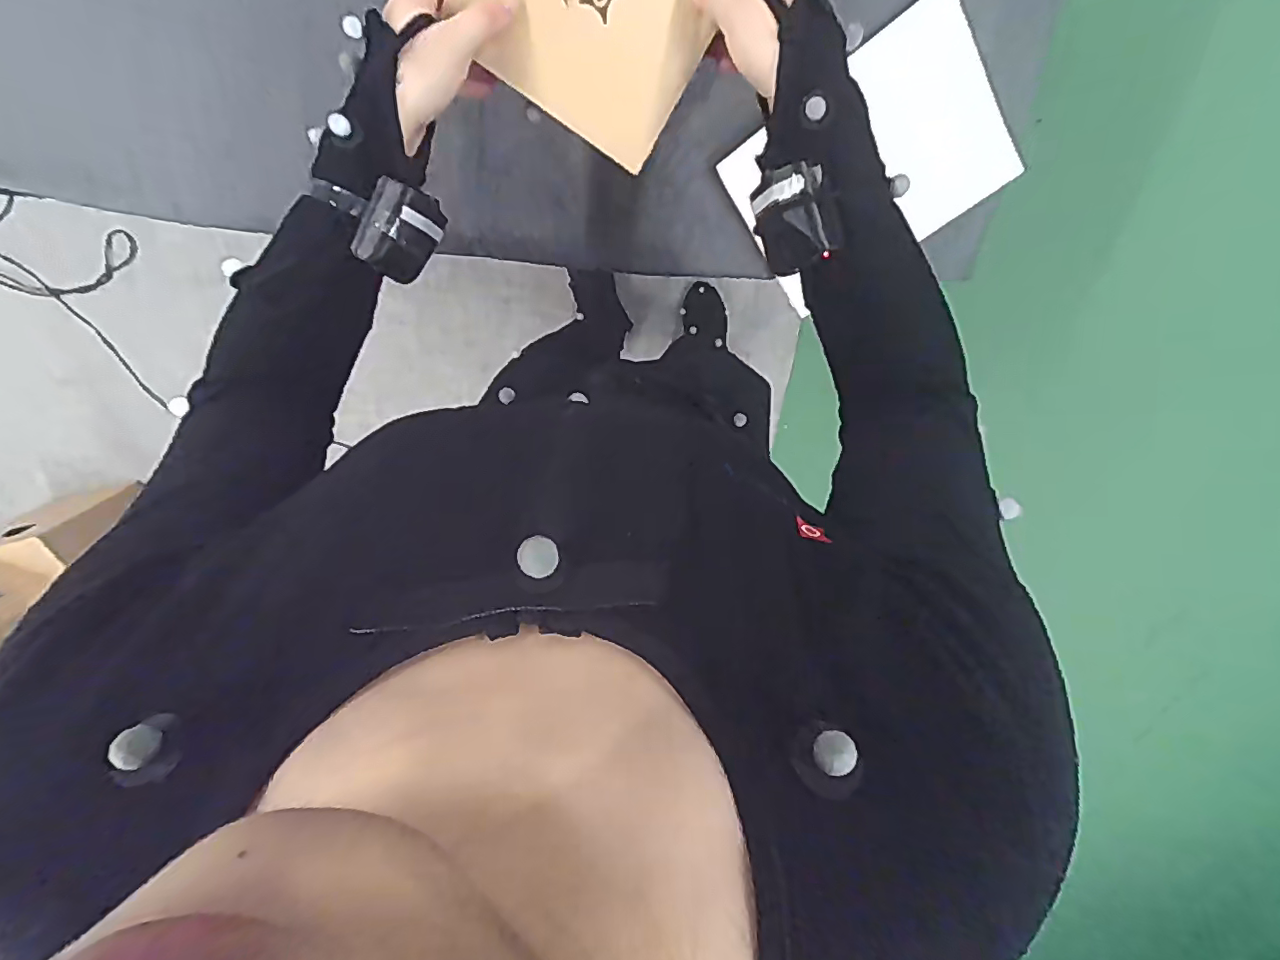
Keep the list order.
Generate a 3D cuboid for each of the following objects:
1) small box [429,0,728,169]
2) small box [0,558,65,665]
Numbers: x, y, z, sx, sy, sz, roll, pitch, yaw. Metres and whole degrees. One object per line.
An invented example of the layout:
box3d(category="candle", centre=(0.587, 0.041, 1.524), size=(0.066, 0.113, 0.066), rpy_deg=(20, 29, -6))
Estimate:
box3d(category="small box", centre=(-0.040, -0.396, 0.438), size=(0.179, 0.176, 0.168), rpy_deg=(25, 124, -21))
box3d(category="small box", centre=(-1.586, 0.319, 1.333), size=(0.179, 0.176, 0.168), rpy_deg=(23, 115, -14))
